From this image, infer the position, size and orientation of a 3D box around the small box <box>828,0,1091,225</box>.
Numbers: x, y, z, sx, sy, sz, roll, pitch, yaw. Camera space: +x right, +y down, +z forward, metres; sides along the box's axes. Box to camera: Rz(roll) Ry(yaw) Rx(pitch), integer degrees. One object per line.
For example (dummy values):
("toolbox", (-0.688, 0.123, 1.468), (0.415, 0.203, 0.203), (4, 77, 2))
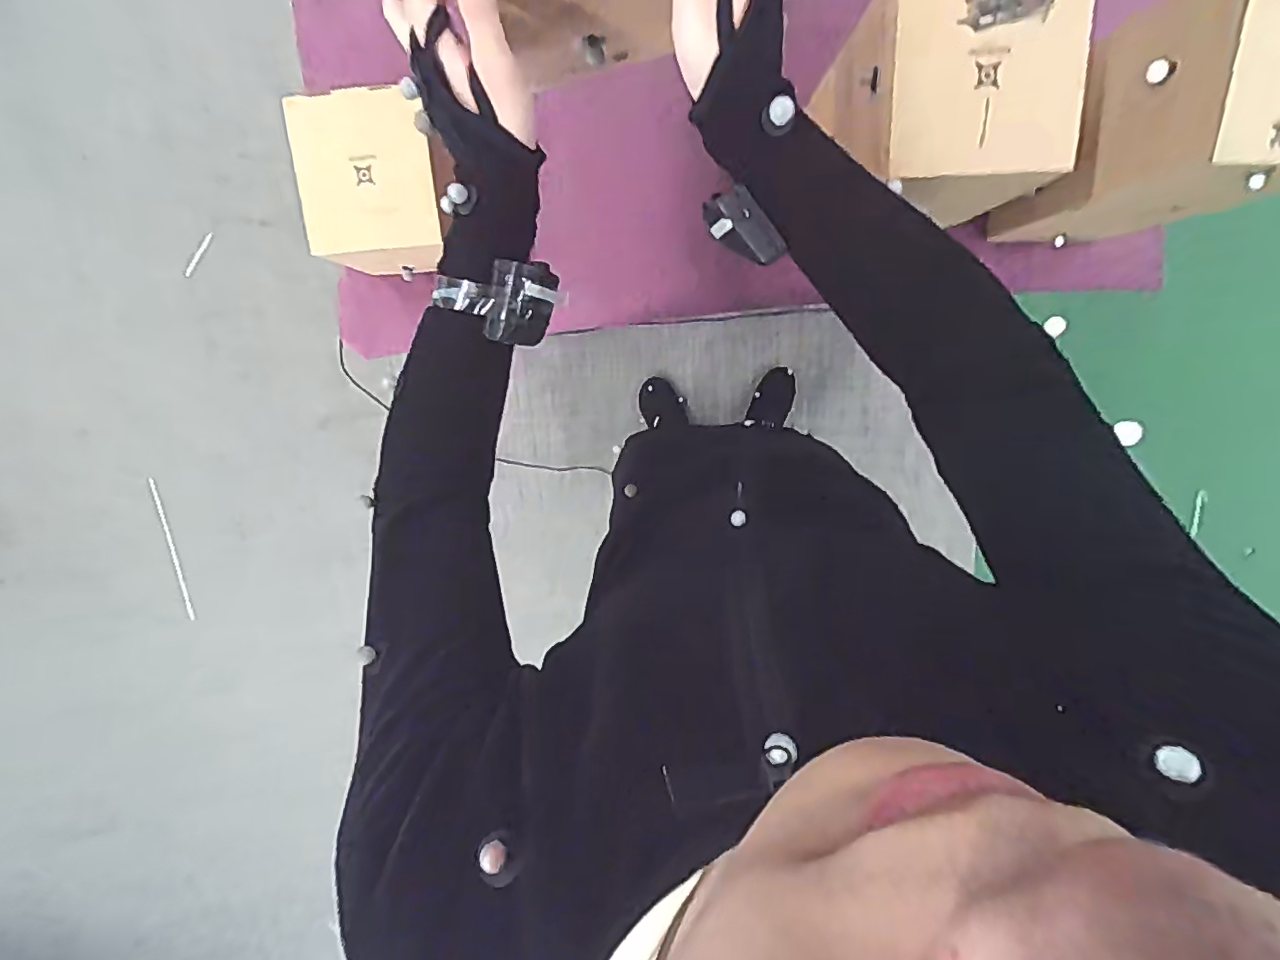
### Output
("small box", (0.298, -0.373, 0.543), (0.168, 0.176, 0.179), (-1, 102, 2))

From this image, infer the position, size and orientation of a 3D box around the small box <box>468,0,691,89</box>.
("small box", (-0.058, -0.423, 0.378), (0.168, 0.176, 0.179), (-13, 105, 3))

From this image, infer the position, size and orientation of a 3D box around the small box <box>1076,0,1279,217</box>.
("small box", (0.580, -0.377, 0.533), (0.168, 0.176, 0.179), (0, 102, 2))

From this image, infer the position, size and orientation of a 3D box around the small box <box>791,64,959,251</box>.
("small box", (0.300, -0.405, 0.704), (0.168, 0.176, 0.179), (-2, 101, 2))

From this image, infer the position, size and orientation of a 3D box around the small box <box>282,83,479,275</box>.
("small box", (-0.326, -0.383, 0.717), (0.168, 0.176, 0.179), (-4, 102, 2))
